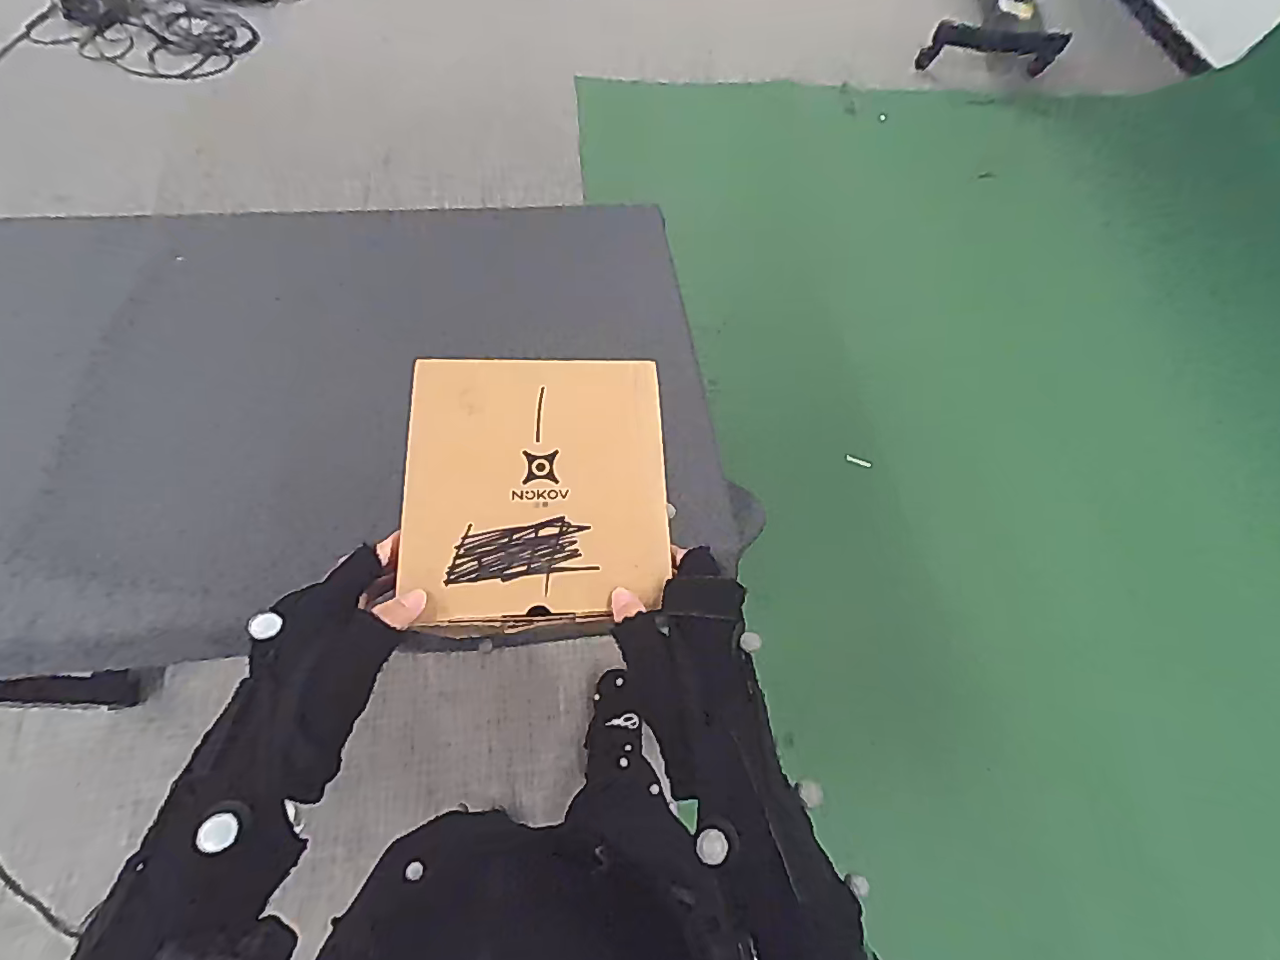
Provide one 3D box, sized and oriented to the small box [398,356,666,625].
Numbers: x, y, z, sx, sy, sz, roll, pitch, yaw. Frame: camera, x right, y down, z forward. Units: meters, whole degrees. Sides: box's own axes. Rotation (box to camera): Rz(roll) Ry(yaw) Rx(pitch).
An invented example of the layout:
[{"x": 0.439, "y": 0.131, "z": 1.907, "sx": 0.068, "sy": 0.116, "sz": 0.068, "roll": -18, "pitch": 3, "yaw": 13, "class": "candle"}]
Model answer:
[{"x": -0.074, "y": 0.021, "z": 0.429, "sx": 0.168, "sy": 0.176, "sz": 0.179, "roll": -1, "pitch": 71, "yaw": -7, "class": "small box"}]
